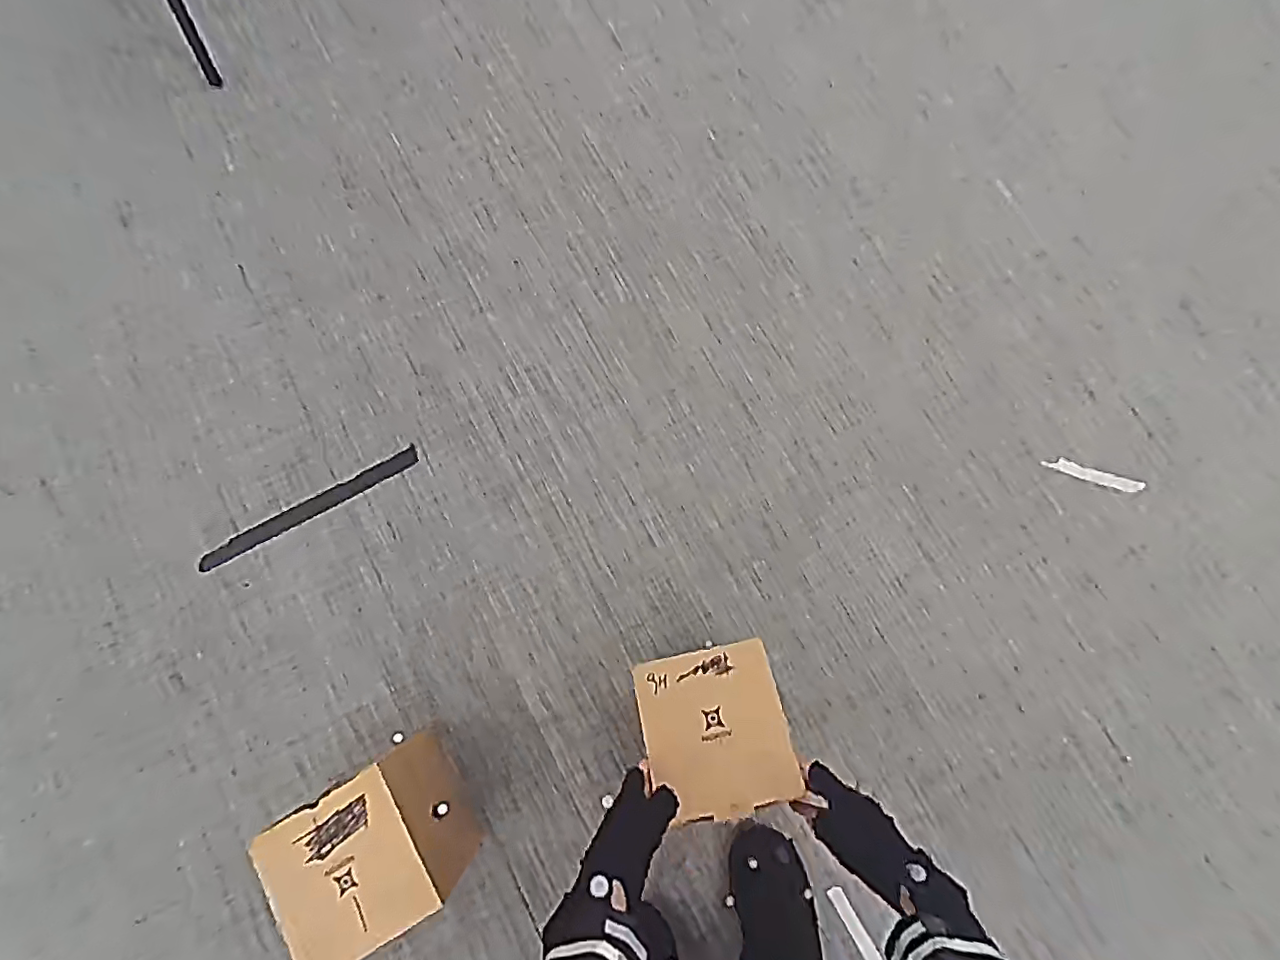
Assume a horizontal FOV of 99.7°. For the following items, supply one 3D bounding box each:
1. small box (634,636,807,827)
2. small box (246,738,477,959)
[{"bbox_3d":[0.095,0.315,0.687,0.168,0.176,0.179,-12,62,0],"label":"small box"},{"bbox_3d":[-0.331,0.451,0.677,0.168,0.176,0.179,-29,81,-7],"label":"small box"}]
